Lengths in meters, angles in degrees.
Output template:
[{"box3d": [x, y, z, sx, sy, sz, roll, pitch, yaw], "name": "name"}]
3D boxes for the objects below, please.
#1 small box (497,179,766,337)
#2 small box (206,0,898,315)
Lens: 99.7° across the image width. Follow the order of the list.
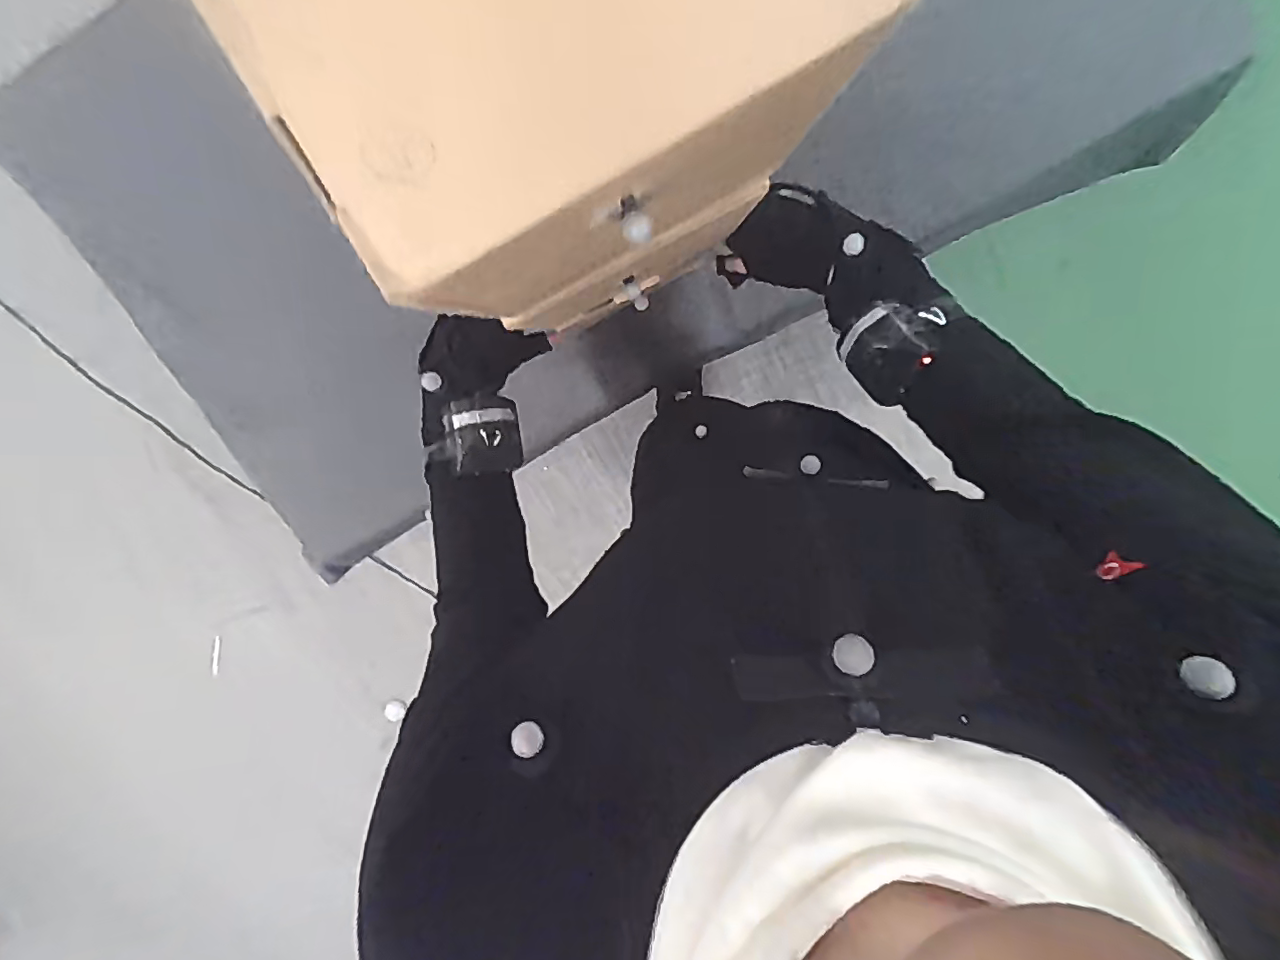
[{"box3d": [-0.037, -0.216, 0.380, 0.179, 0.176, 0.168, -25, 104, 9], "name": "small box"}, {"box3d": [-0.037, -0.179, 0.223, 0.179, 0.176, 0.168, -27, 105, 7], "name": "small box"}]
